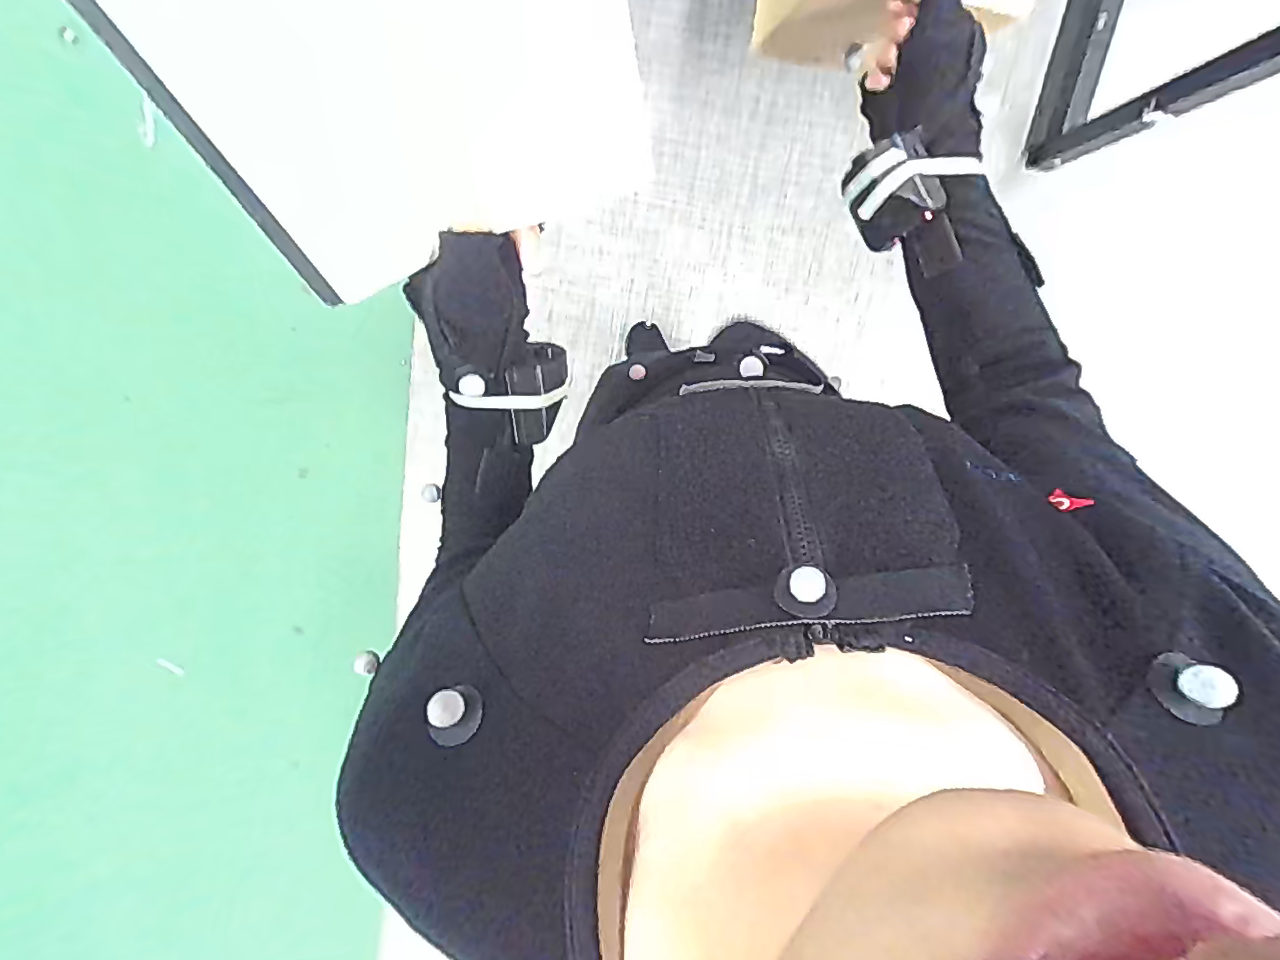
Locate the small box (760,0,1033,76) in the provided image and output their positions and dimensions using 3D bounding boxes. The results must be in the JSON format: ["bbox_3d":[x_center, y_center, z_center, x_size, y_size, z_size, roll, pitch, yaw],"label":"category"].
[{"bbox_3d":[0.209,-0.464,0.432,0.168,0.176,0.179,3,112,-8],"label":"small box"}]
